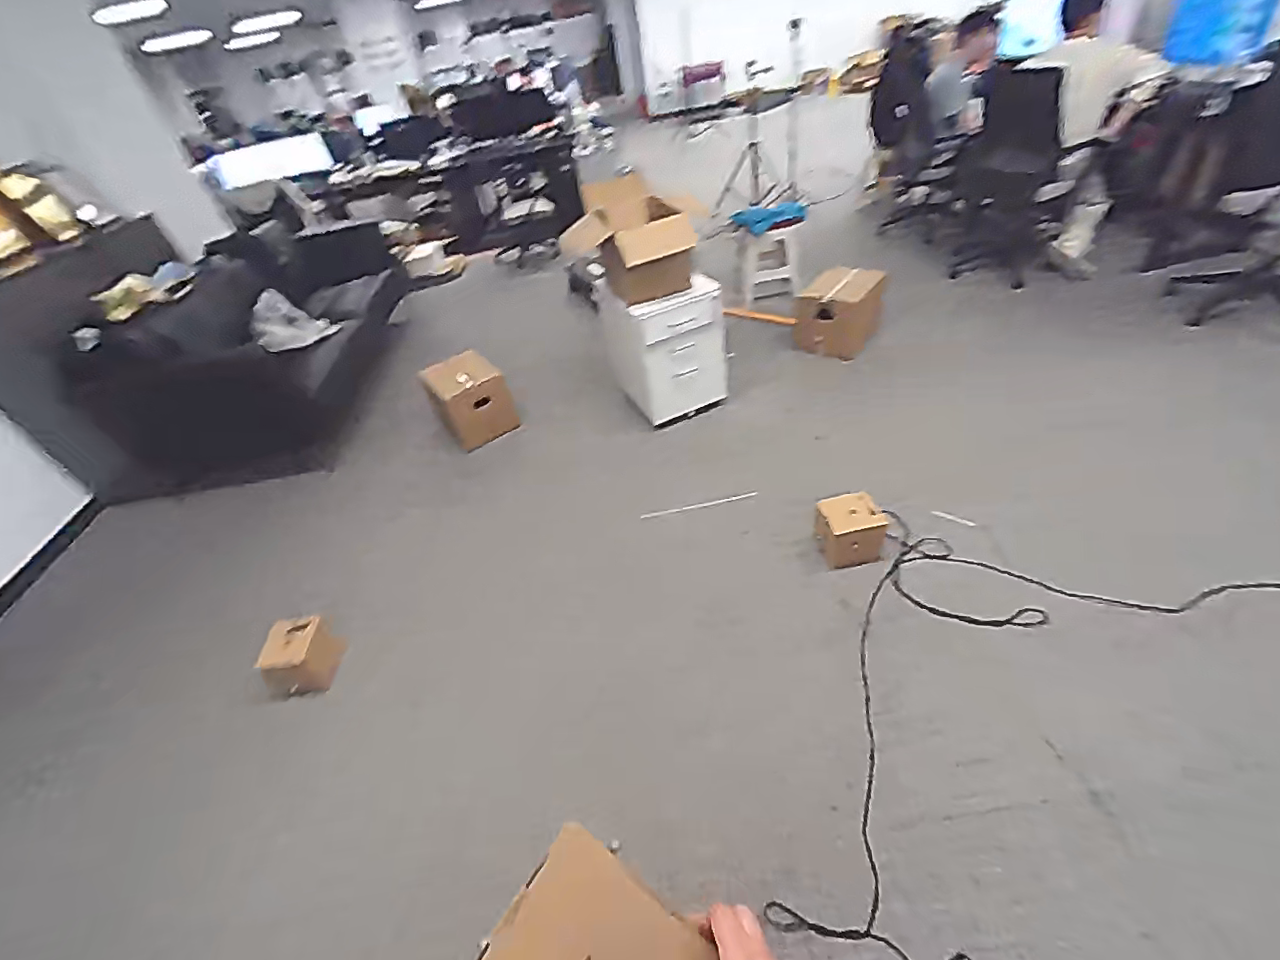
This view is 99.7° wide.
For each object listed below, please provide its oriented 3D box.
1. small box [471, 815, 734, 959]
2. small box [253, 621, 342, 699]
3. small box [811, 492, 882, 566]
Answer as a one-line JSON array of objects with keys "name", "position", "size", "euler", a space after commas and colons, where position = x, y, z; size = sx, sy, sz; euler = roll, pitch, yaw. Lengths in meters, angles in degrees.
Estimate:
[{"name": "small box", "position": [-0.043, 0.443, 0.485], "size": [0.179, 0.176, 0.168], "euler": [30, 59, 18]}, {"name": "small box", "position": [-1.130, 0.601, 1.804], "size": [0.168, 0.176, 0.179], "euler": [-10, 40, 2]}, {"name": "small box", "position": [0.695, 0.171, 1.839], "size": [0.179, 0.176, 0.168], "euler": [-14, 40, 0]}]
